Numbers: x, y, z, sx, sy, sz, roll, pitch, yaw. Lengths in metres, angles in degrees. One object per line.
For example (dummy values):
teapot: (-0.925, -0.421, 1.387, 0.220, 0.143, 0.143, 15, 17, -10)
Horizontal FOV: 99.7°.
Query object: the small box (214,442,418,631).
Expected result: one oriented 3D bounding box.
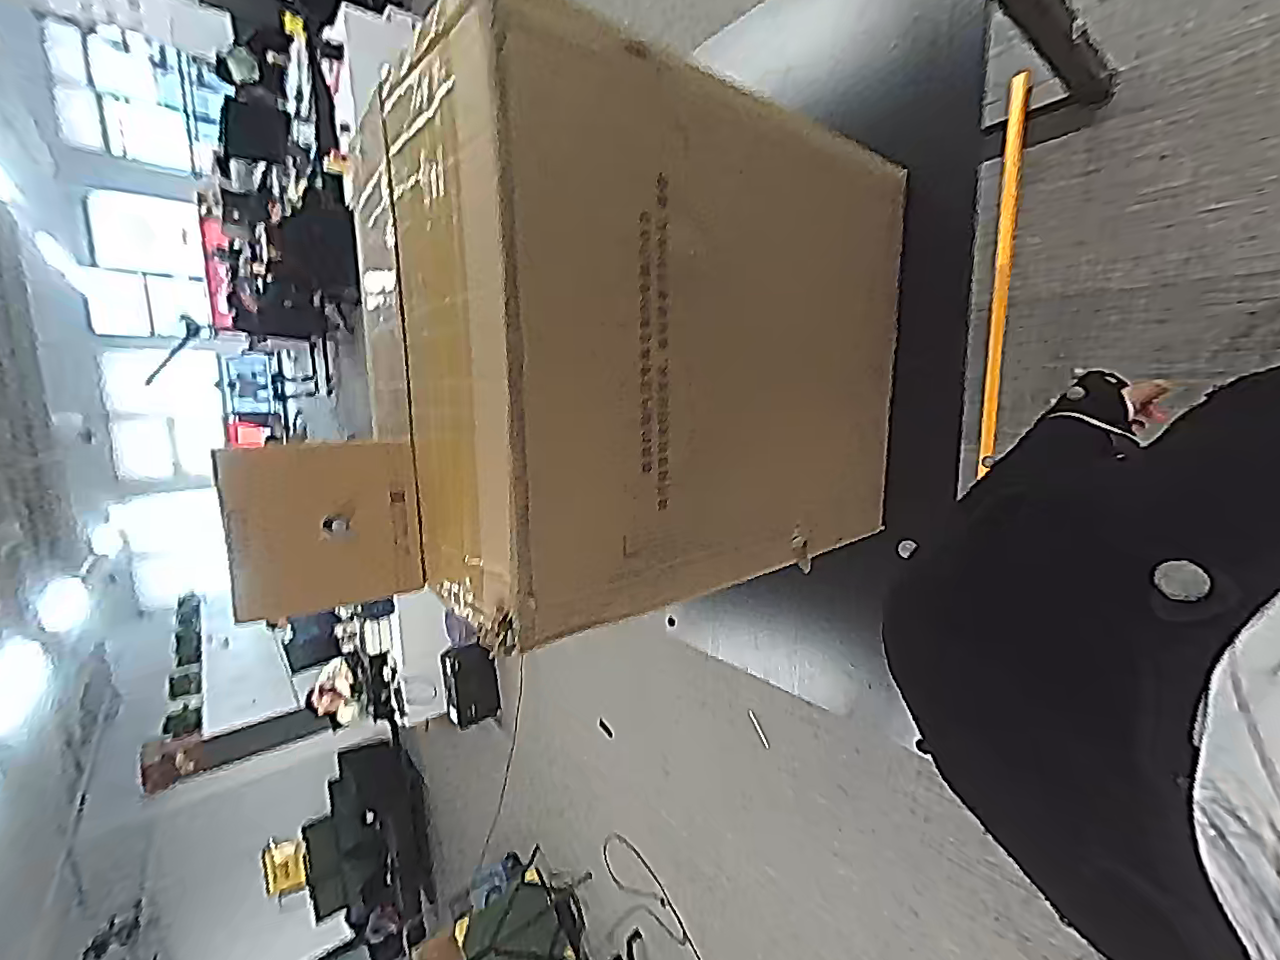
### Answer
small box: (-0.351, 0.046, 0.597, 0.179, 0.176, 0.168, 4, 99, 53)
